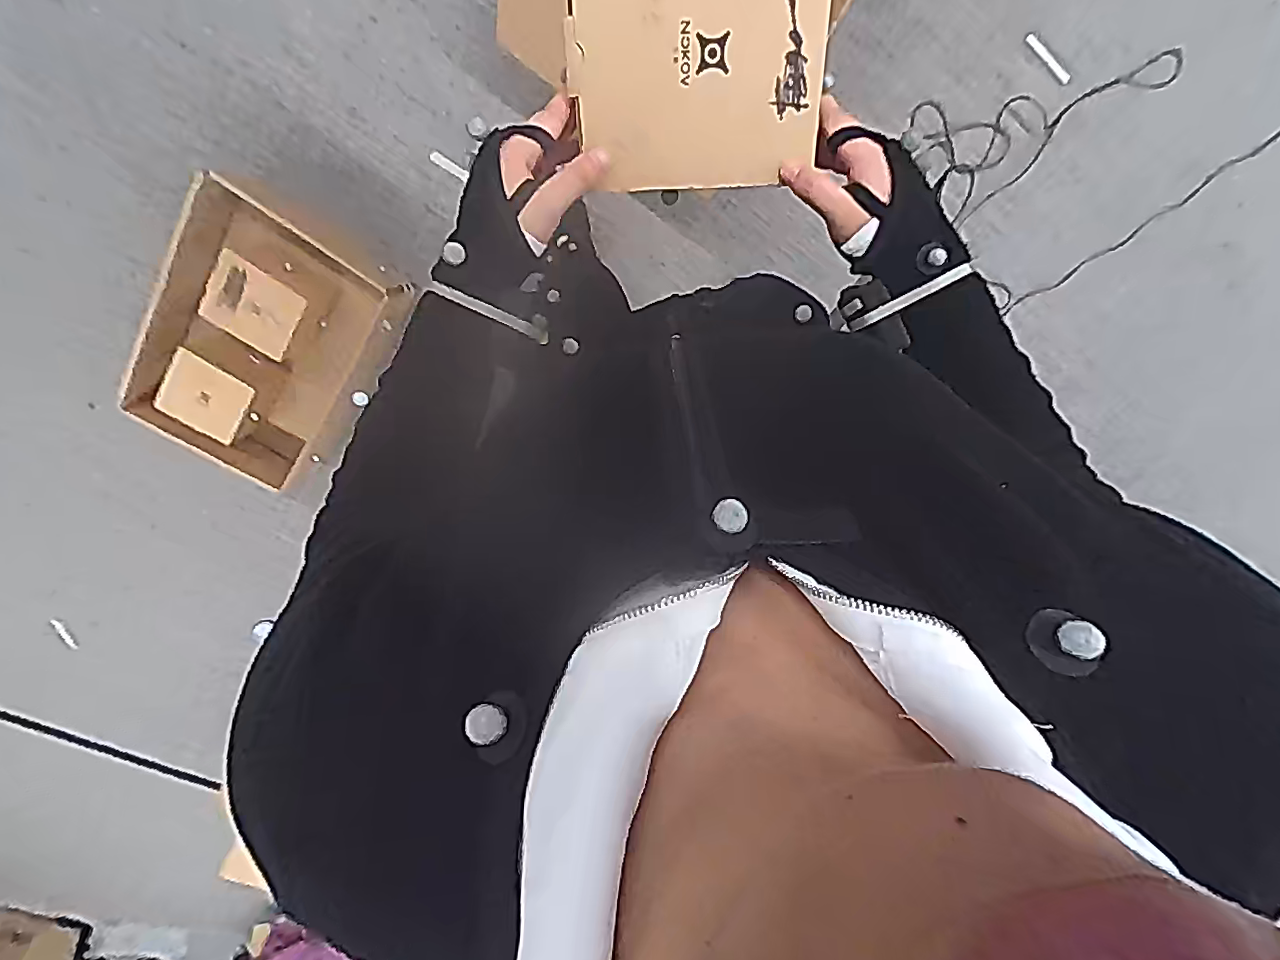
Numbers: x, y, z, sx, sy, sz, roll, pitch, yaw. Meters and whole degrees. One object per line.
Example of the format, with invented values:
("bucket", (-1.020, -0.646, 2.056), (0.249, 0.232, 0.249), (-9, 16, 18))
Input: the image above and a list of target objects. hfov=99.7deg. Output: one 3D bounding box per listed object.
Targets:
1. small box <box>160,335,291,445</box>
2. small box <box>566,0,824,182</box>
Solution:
("small box", (-0.982, -0.221, 1.298), (0.168, 0.176, 0.179), (33, 109, -19))
("small box", (0.037, -0.340, 0.442), (0.179, 0.176, 0.168), (-2, 118, -1))
